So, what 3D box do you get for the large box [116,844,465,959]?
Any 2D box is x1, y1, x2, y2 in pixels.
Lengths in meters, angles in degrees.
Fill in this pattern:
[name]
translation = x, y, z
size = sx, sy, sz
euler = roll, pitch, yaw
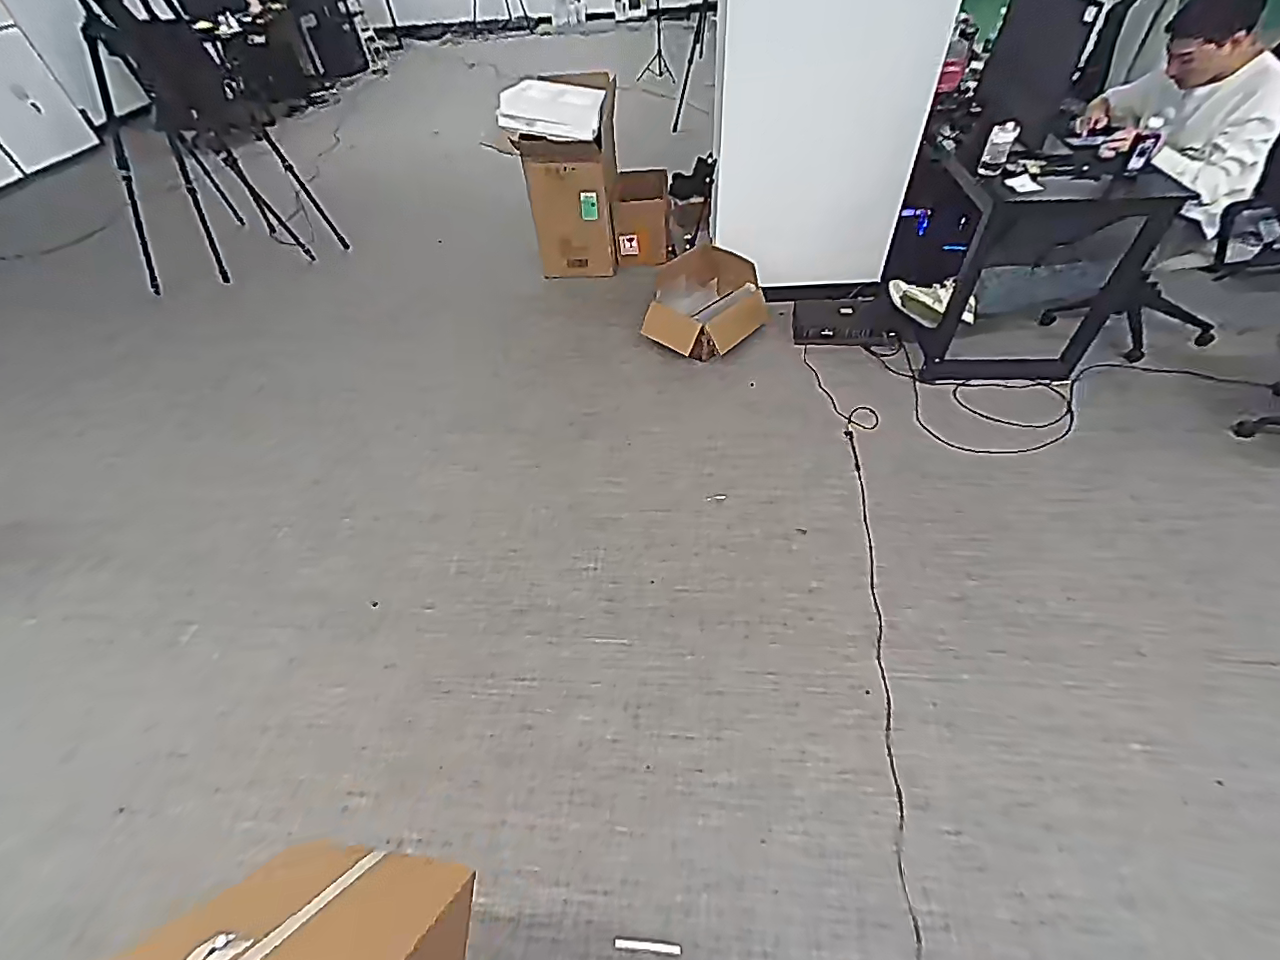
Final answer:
[large box]
translation = -0.459, 0.725, 0.657
size = 0.320, 0.408, 0.320
euler = 3, 80, 7
